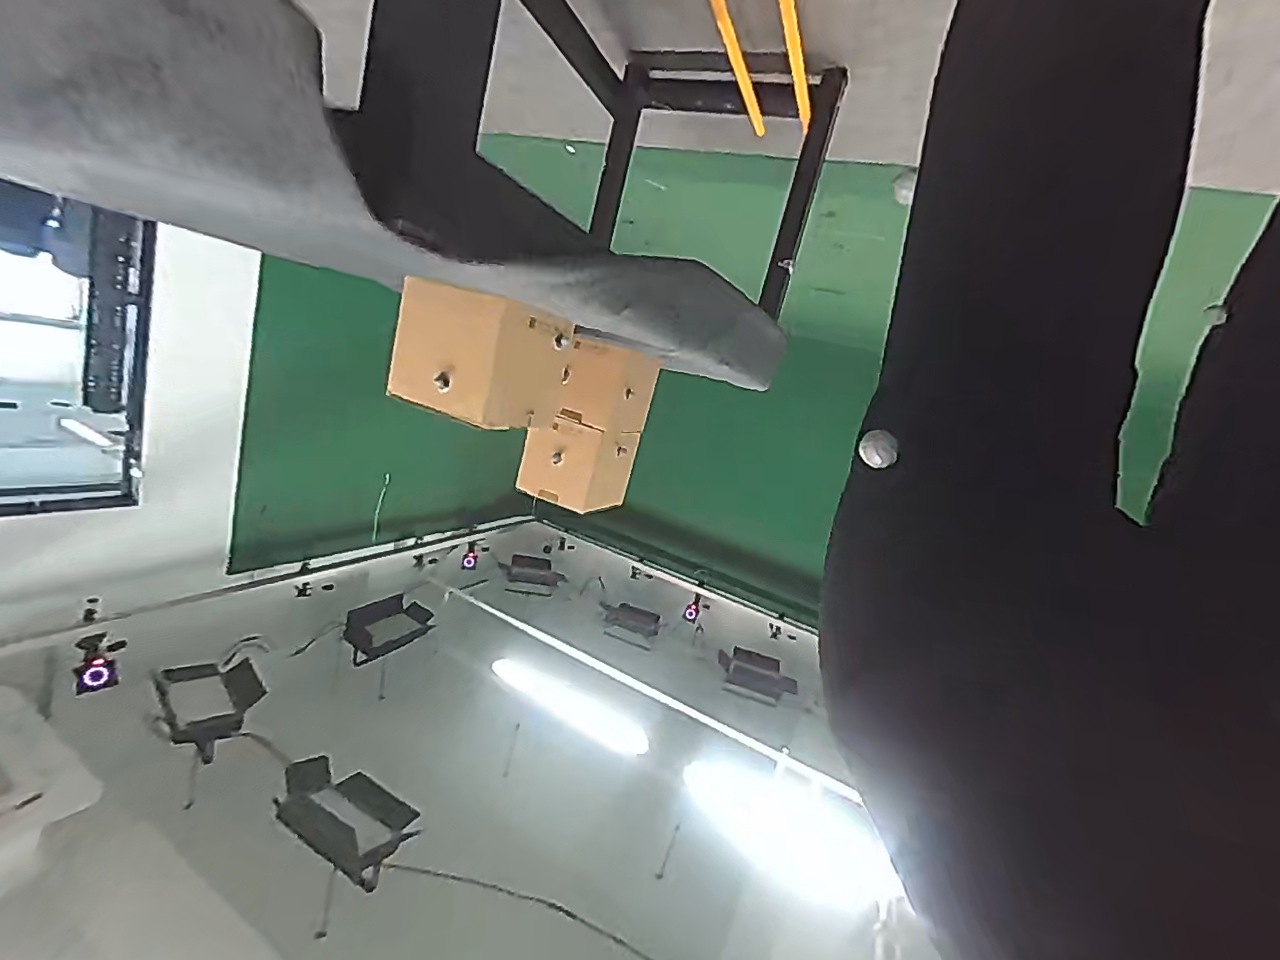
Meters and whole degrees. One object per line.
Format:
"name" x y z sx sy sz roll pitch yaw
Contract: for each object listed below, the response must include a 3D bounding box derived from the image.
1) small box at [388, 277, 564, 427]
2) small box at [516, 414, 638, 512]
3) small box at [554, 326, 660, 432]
"small box" -0.224 -0.179 0.772 0.179 0.176 0.168 19 -169 22
"small box" -0.124 -0.046 1.109 0.168 0.176 0.179 19 -169 22
"small box" -0.078 -0.200 1.075 0.168 0.176 0.179 20 -168 20
